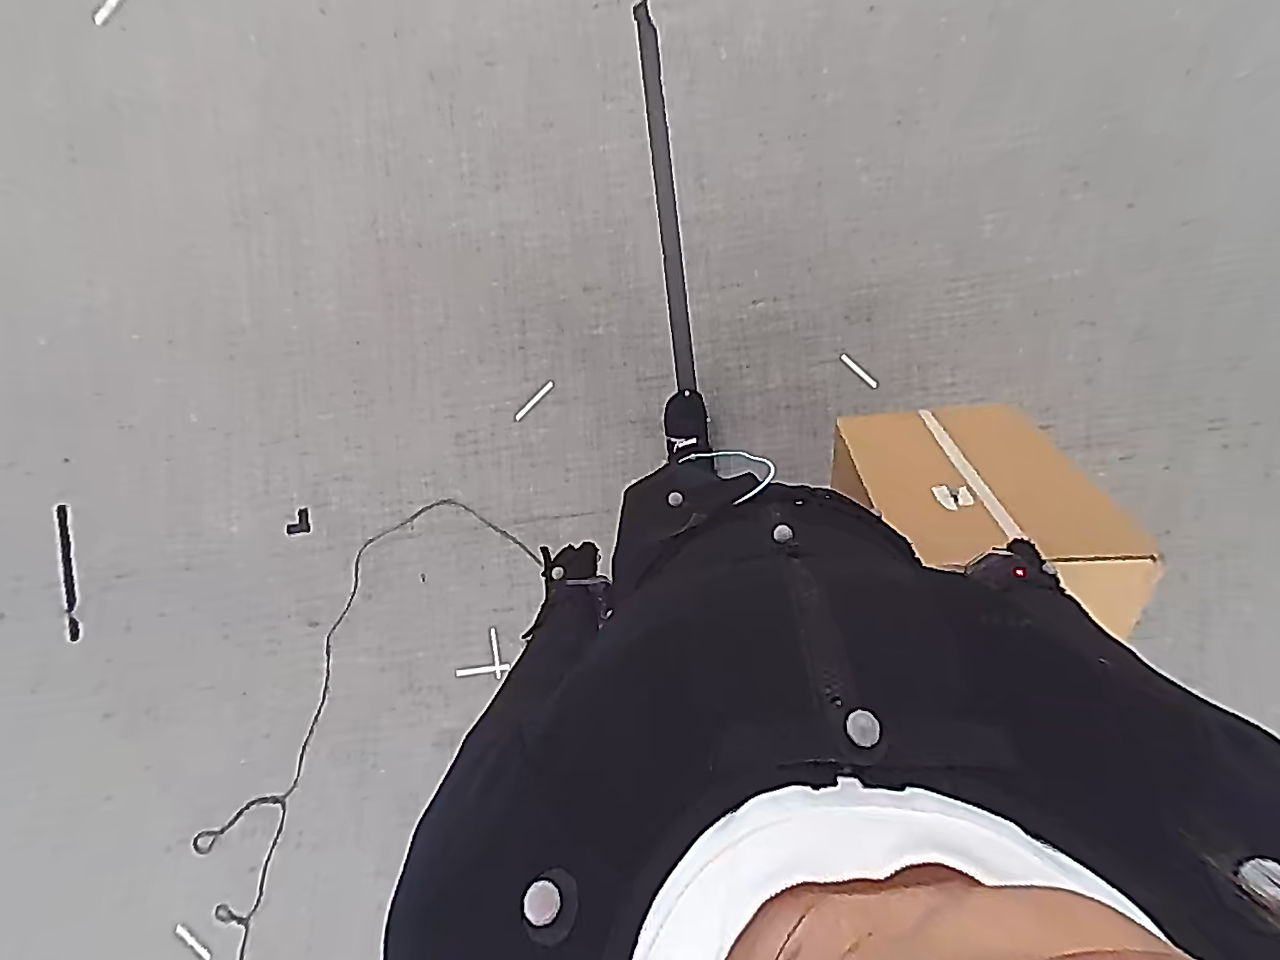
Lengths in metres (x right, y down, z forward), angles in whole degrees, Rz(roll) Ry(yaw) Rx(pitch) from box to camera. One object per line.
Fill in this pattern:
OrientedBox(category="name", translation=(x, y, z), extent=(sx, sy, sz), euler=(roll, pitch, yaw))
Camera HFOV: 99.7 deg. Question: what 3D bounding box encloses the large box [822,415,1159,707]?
OrientedBox(category="large box", translation=(0.522, 0.122, 0.932), extent=(0.320, 0.408, 0.320), euler=(-4, 125, 8))
